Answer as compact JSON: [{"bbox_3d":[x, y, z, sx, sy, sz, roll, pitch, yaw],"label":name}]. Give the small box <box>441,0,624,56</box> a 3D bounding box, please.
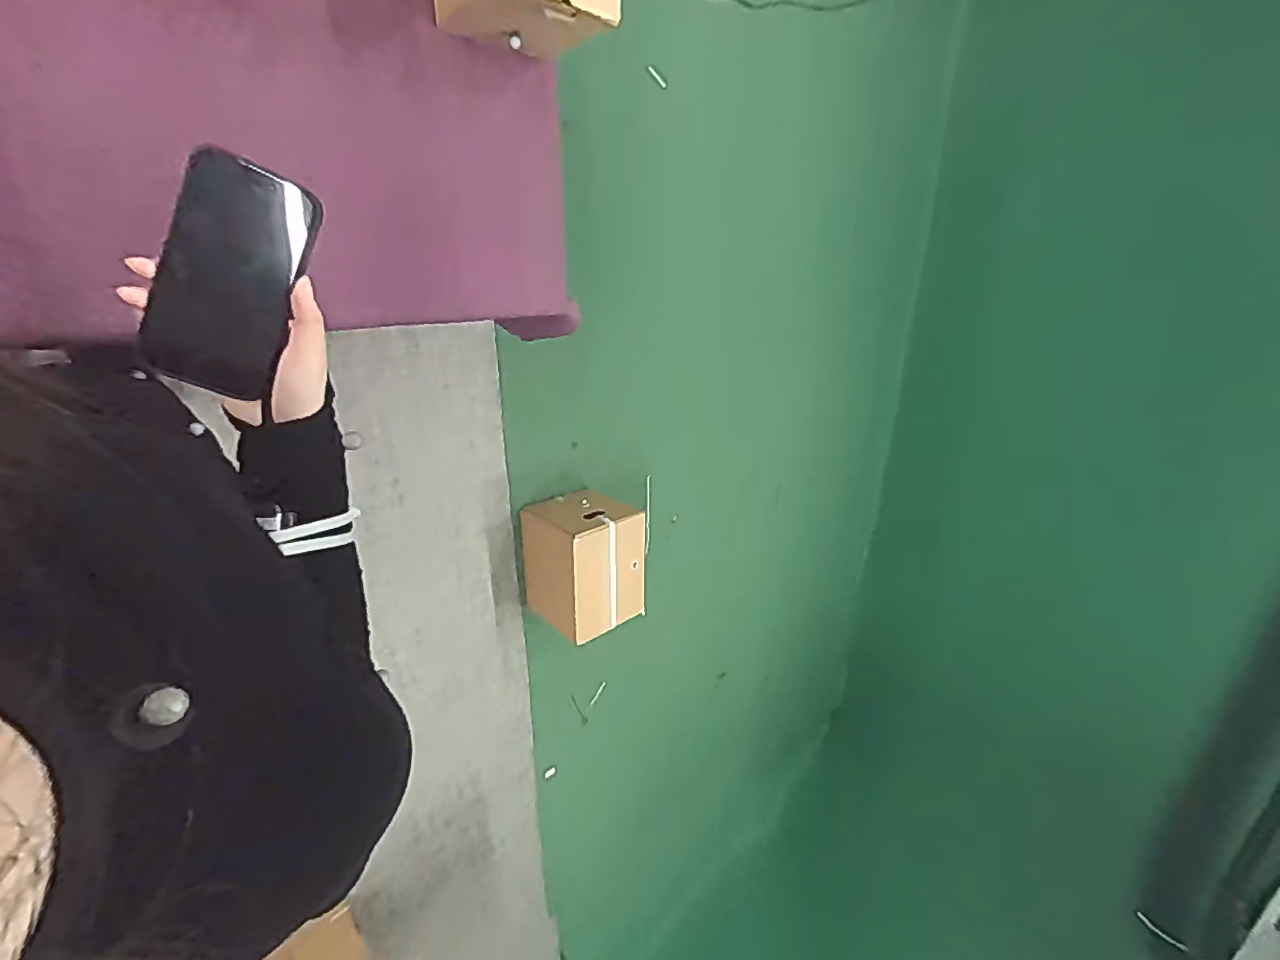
[{"bbox_3d":[-0.135,-0.648,0.643,0.168,0.176,0.179,-18,118,-39],"label":"small box"}]
